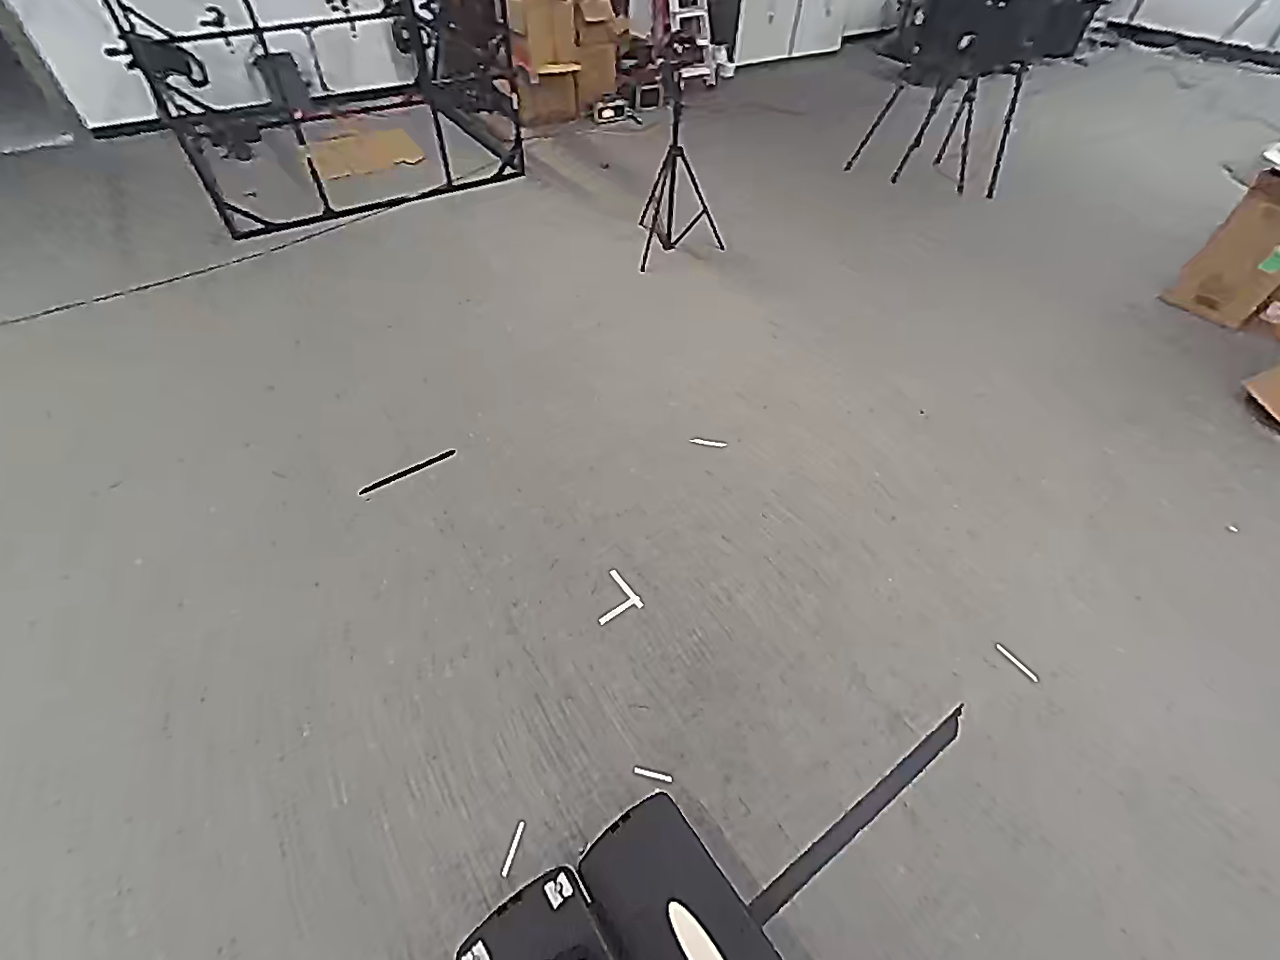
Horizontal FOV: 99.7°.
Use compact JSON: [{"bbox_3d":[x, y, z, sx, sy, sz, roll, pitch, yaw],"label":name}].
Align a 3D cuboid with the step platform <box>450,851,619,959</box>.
[{"bbox_3d":[-0.115,1.148,1.081,0.286,0.204,0.684,-28,55,-24],"label":"step platform"}]
